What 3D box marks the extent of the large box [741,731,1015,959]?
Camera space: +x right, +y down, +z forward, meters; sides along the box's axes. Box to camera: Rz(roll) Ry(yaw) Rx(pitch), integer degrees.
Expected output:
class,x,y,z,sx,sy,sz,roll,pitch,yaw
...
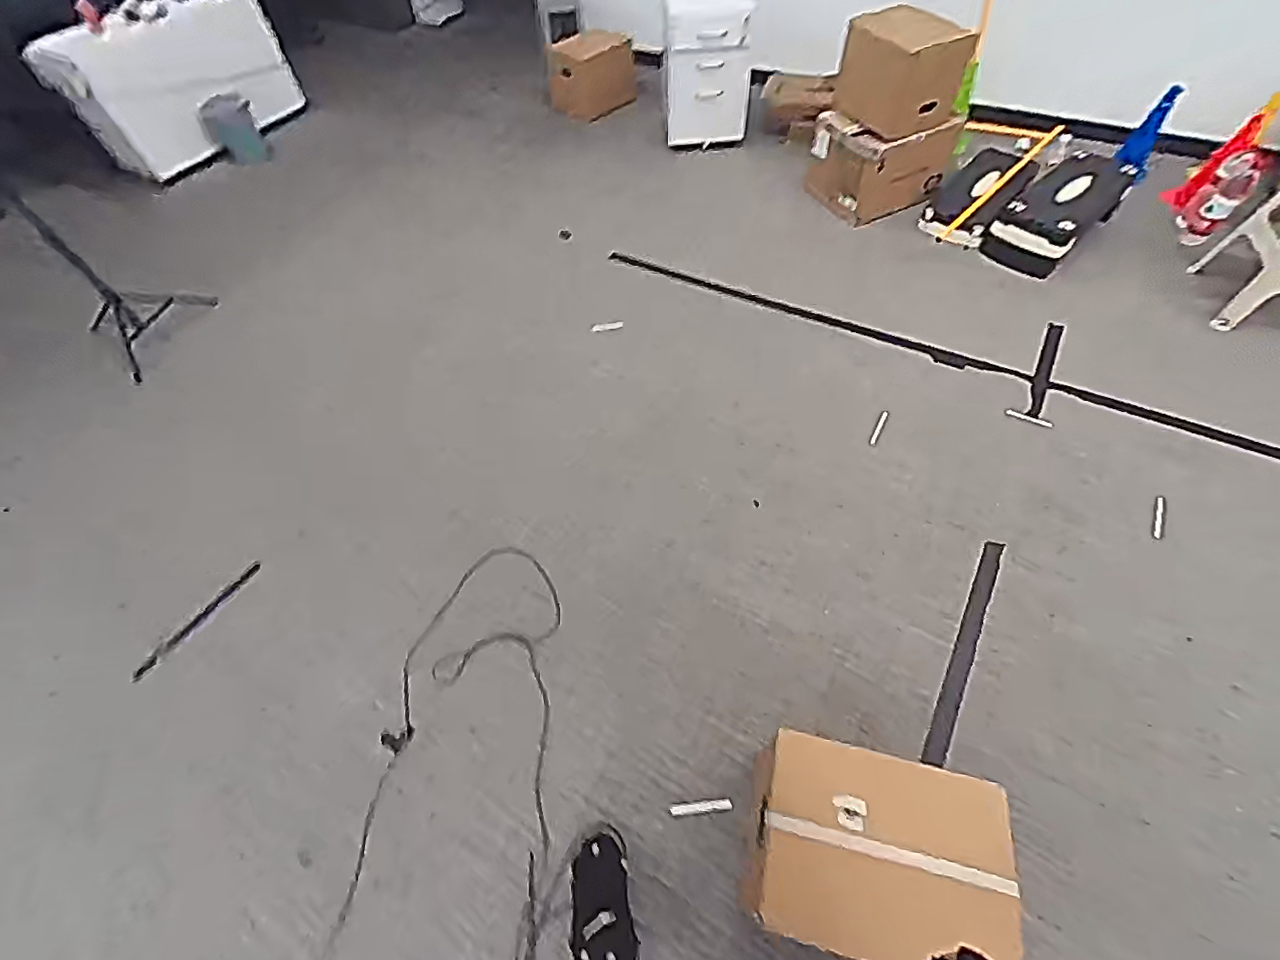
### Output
class,x,y,z,sx,sy,sz,roll,pitch,yaw
large box,0.429,0.721,1.056,0.408,0.320,0.320,10,57,11
